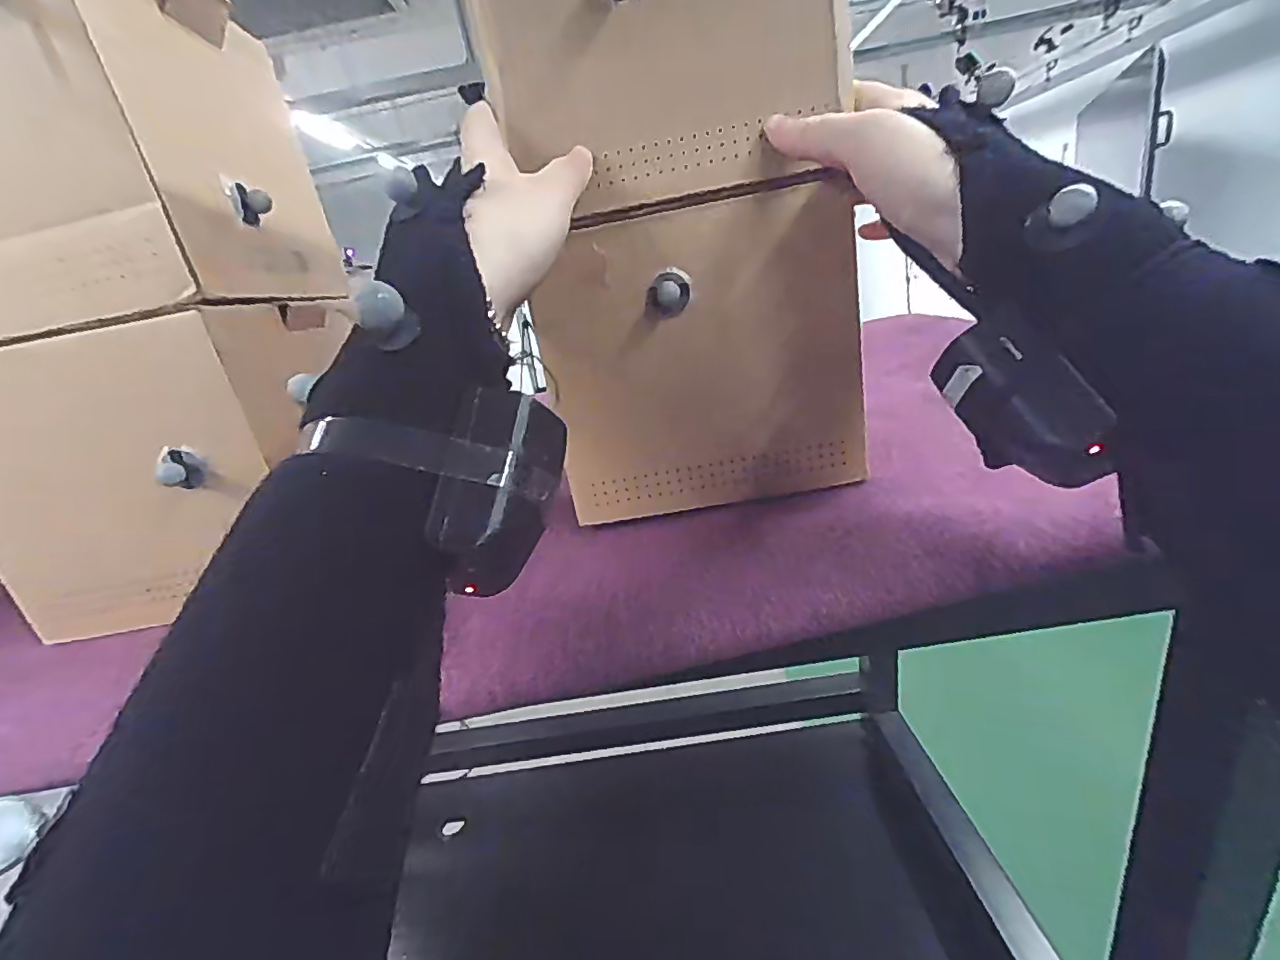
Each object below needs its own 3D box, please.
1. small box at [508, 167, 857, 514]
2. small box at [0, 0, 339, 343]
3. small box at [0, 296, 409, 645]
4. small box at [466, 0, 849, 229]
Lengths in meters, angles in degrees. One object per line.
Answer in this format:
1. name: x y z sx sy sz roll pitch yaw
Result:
1. small box: 0.032 -0.086 0.370 0.179 0.176 0.168 -9 18 4
2. small box: -0.316 -0.168 0.307 0.179 0.176 0.168 -11 20 0
3. small box: -0.284 -0.017 0.361 0.179 0.176 0.168 -11 20 1
4. small box: 0.006 -0.240 0.319 0.179 0.176 0.168 -10 18 4
